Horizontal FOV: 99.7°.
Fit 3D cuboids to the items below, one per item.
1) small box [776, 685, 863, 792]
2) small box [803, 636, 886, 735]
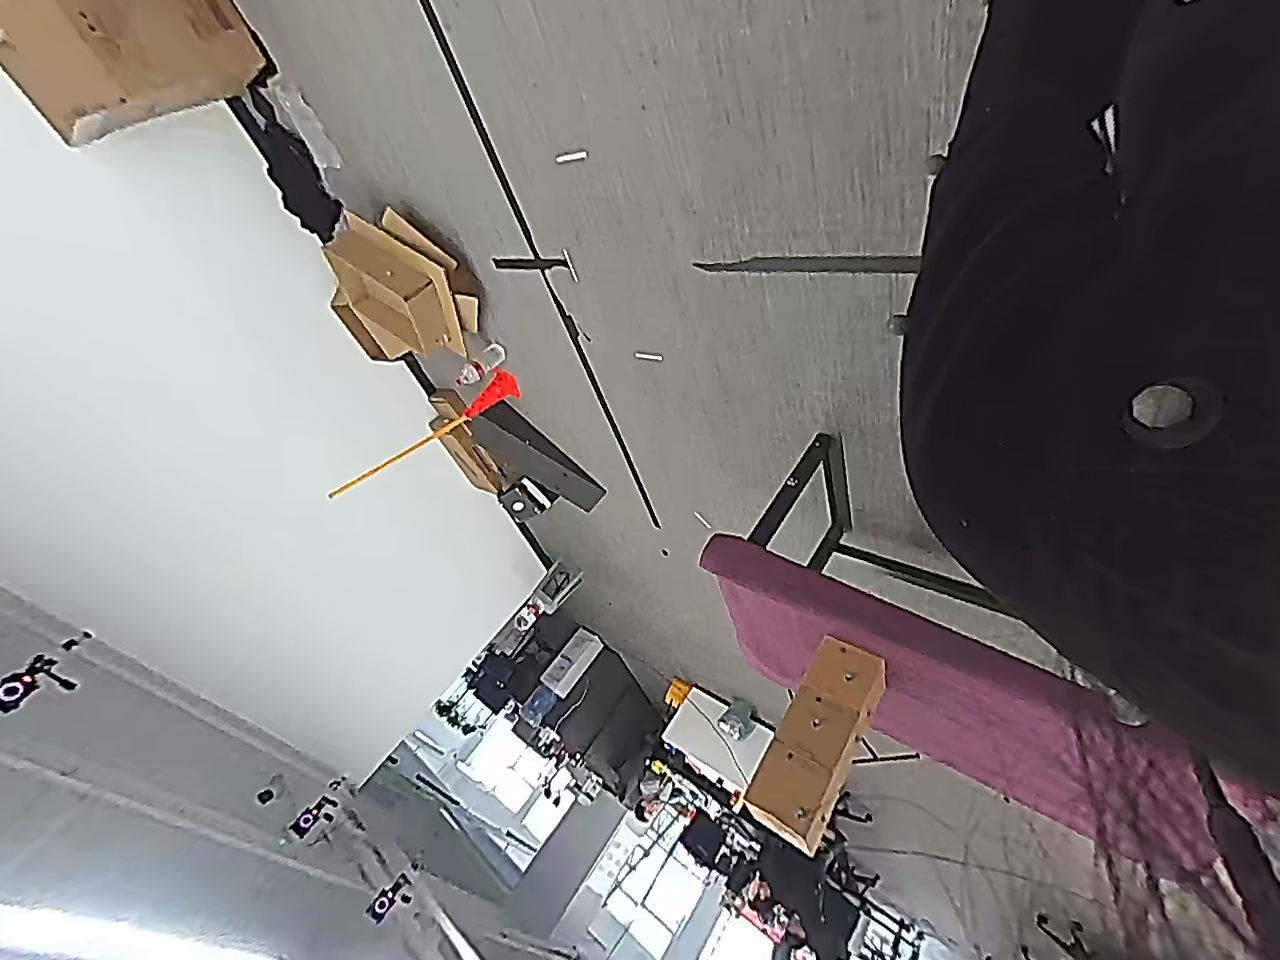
[{"bbox_3d":[0.482,0.682,1.442,0.168,0.176,0.179,18,145,37],"label":"small box"},{"bbox_3d":[0.576,0.568,1.513,0.168,0.176,0.179,17,145,37],"label":"small box"}]
